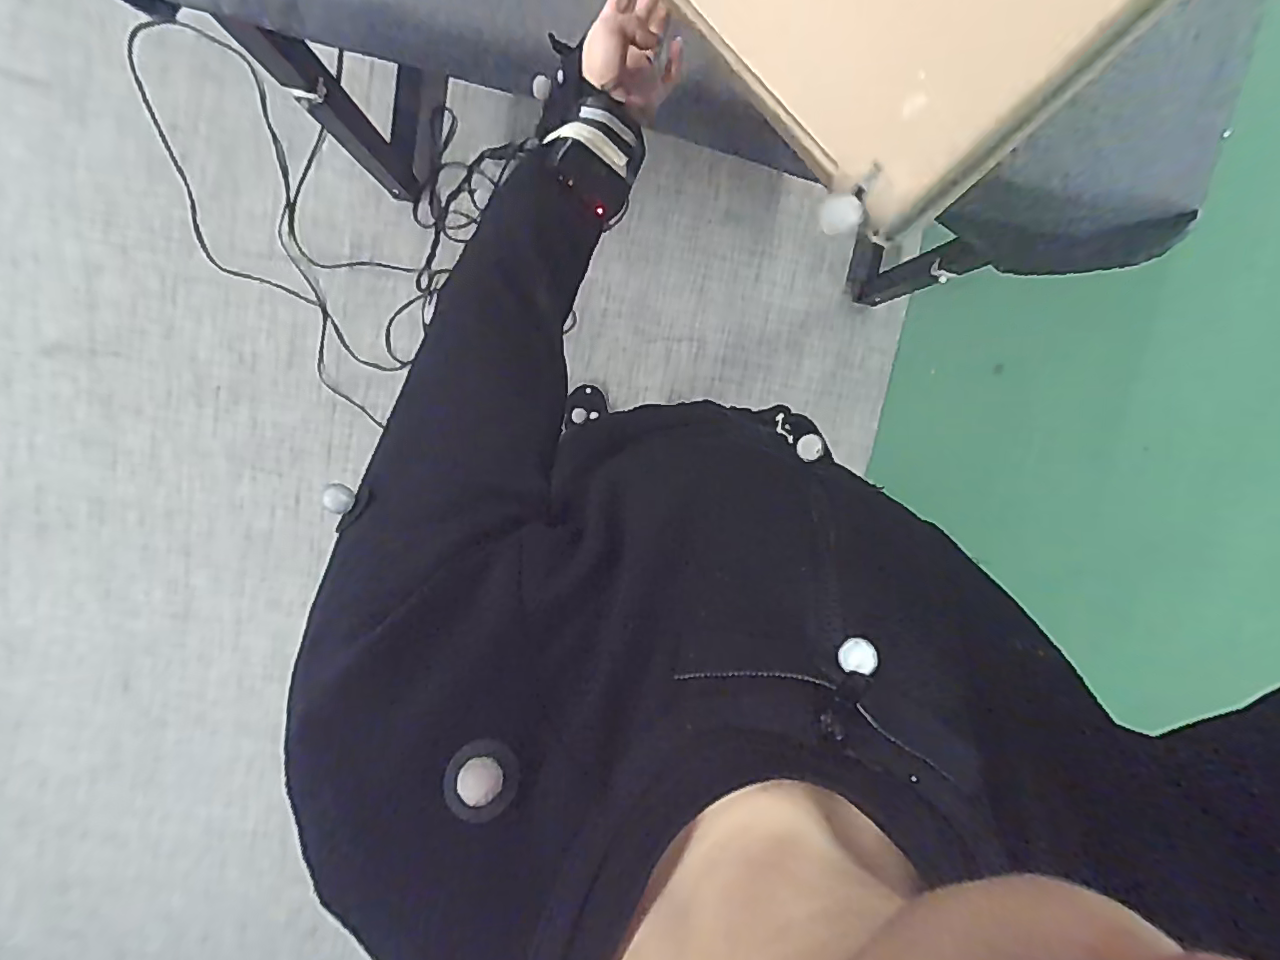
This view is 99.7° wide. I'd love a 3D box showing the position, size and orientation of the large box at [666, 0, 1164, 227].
[{"bbox_3d":[0.169,-0.369,0.204,0.320,0.320,0.408,47,125,2],"label":"large box"}]
